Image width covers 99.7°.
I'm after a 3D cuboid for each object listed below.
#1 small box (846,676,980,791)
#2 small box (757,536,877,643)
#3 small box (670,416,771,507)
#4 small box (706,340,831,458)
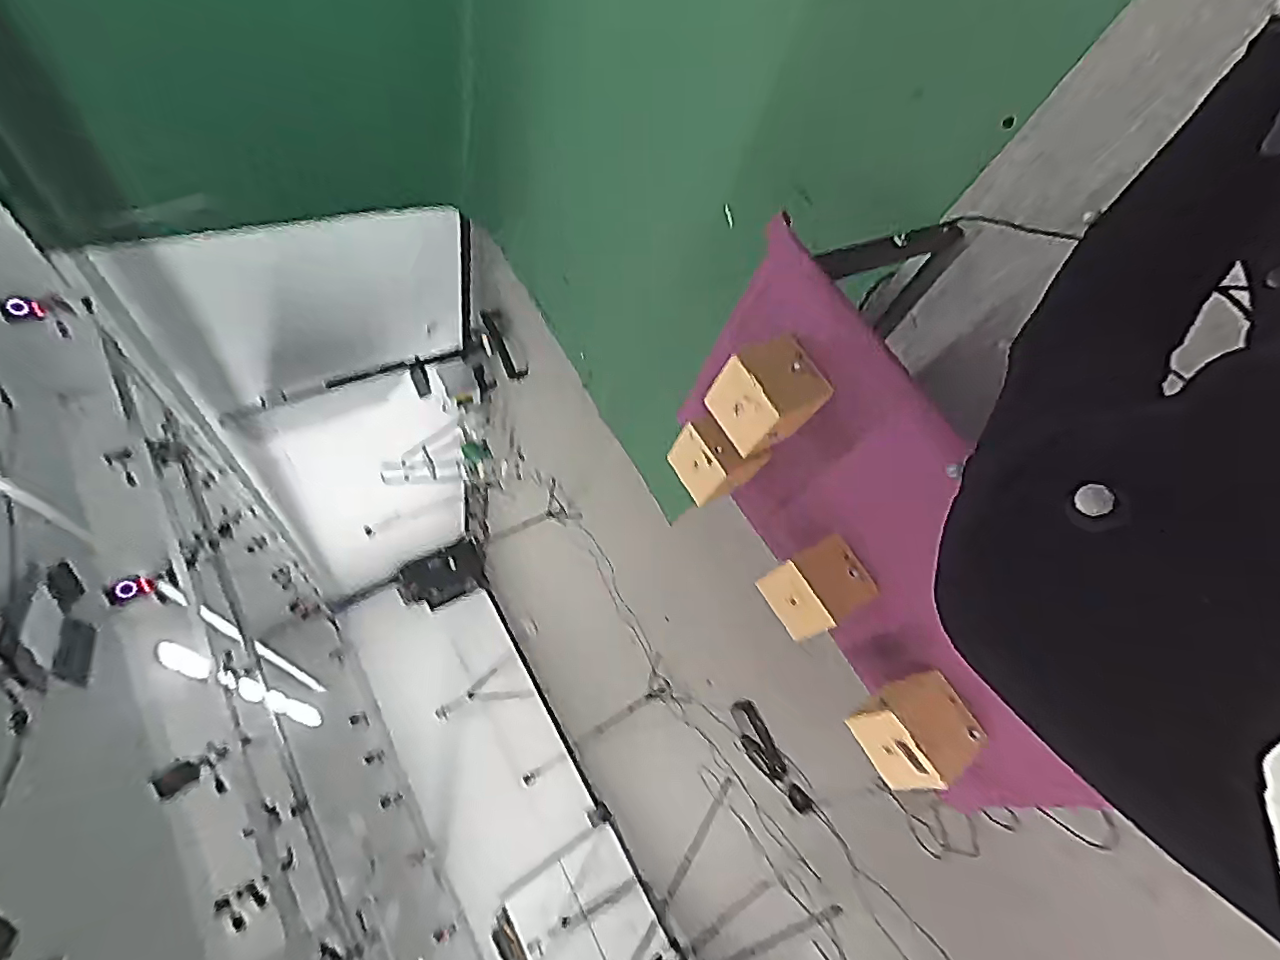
[{"bbox_3d":[0.601,0.551,1.182,0.168,0.176,0.179,58,152,18],"label":"small box"},{"bbox_3d":[0.420,0.259,1.286,0.168,0.176,0.179,57,150,16],"label":"small box"},{"bbox_3d":[0.209,-0.059,1.413,0.168,0.176,0.179,57,150,17],"label":"small box"},{"bbox_3d":[0.281,-0.179,1.191,0.168,0.176,0.179,58,152,15],"label":"small box"}]
